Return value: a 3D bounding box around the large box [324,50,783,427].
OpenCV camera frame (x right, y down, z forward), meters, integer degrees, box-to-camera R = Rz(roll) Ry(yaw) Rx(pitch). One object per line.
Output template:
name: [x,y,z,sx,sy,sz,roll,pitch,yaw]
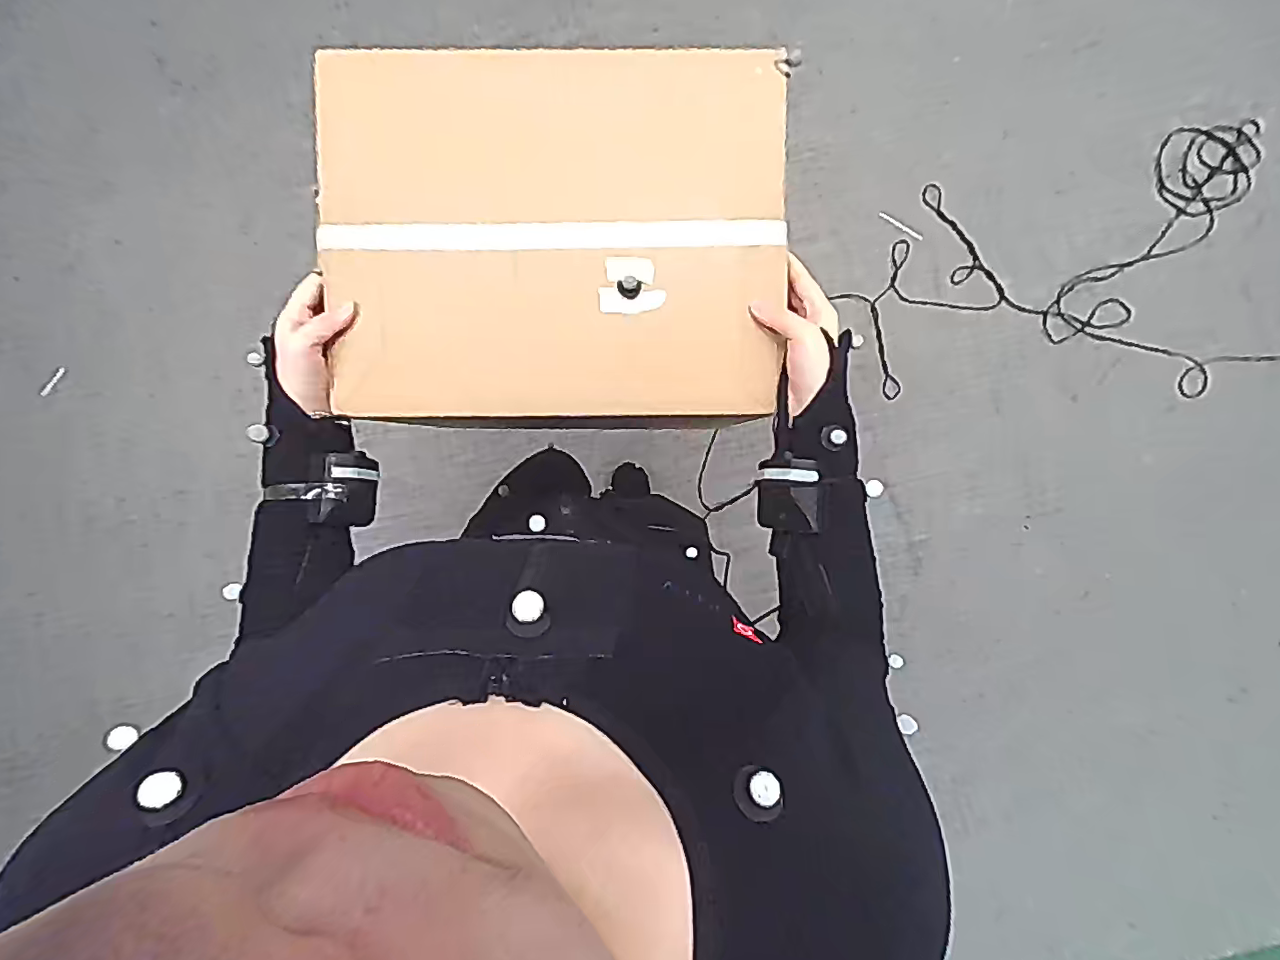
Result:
large box: [-0.078,-0.229,0.629,0.408,0.320,0.320,-1,94,-2]
